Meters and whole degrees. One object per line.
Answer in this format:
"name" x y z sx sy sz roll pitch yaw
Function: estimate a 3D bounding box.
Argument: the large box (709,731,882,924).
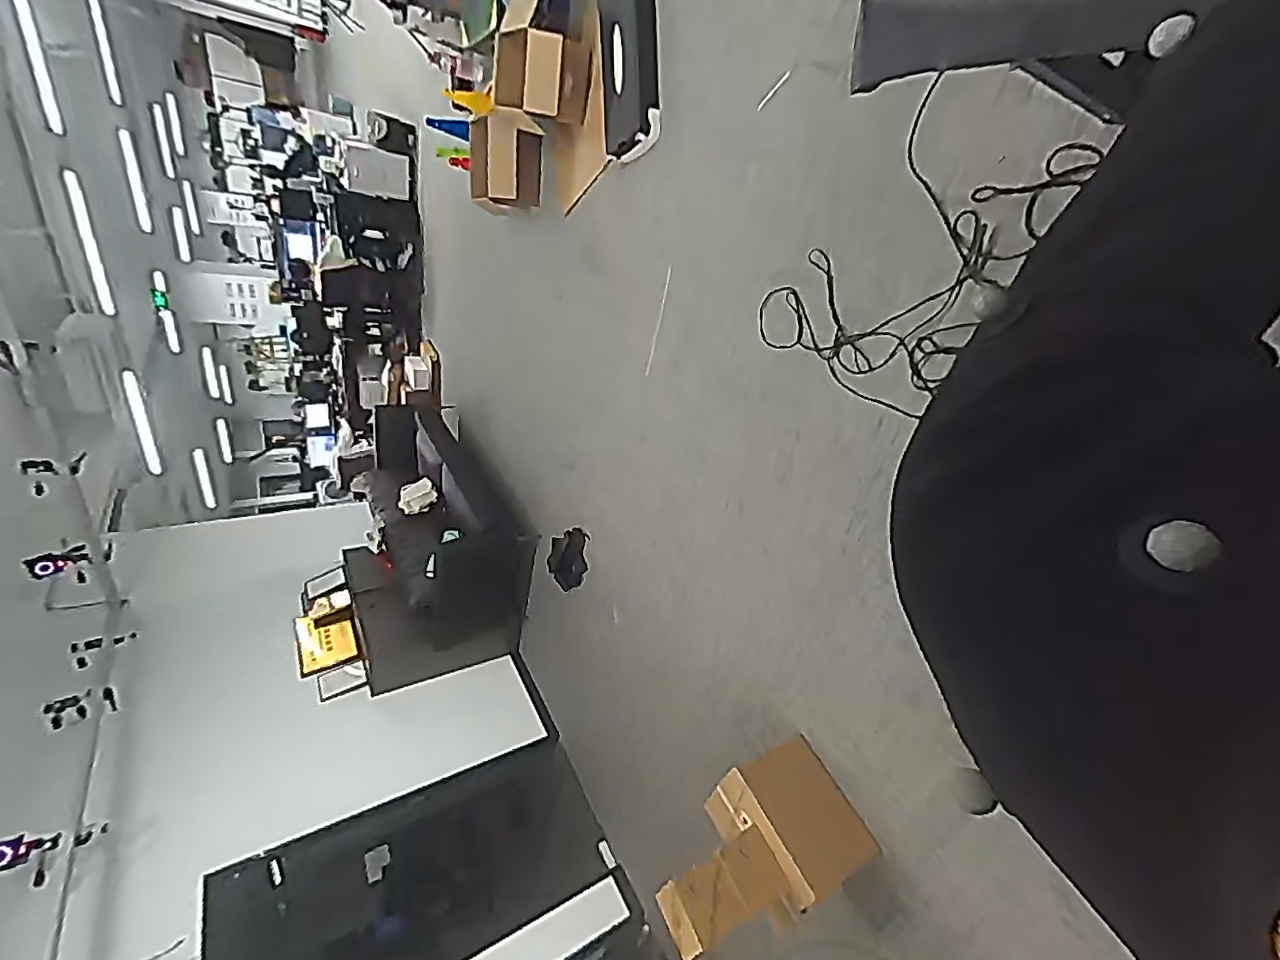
"large box" 0.505 1.146 1.813 0.408 0.320 0.320 54 137 38

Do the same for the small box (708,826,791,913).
"small box" 0.324 1.197 1.655 0.179 0.176 0.168 53 139 36

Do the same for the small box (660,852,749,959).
"small box" 0.187 1.233 1.573 0.179 0.176 0.168 54 139 37
